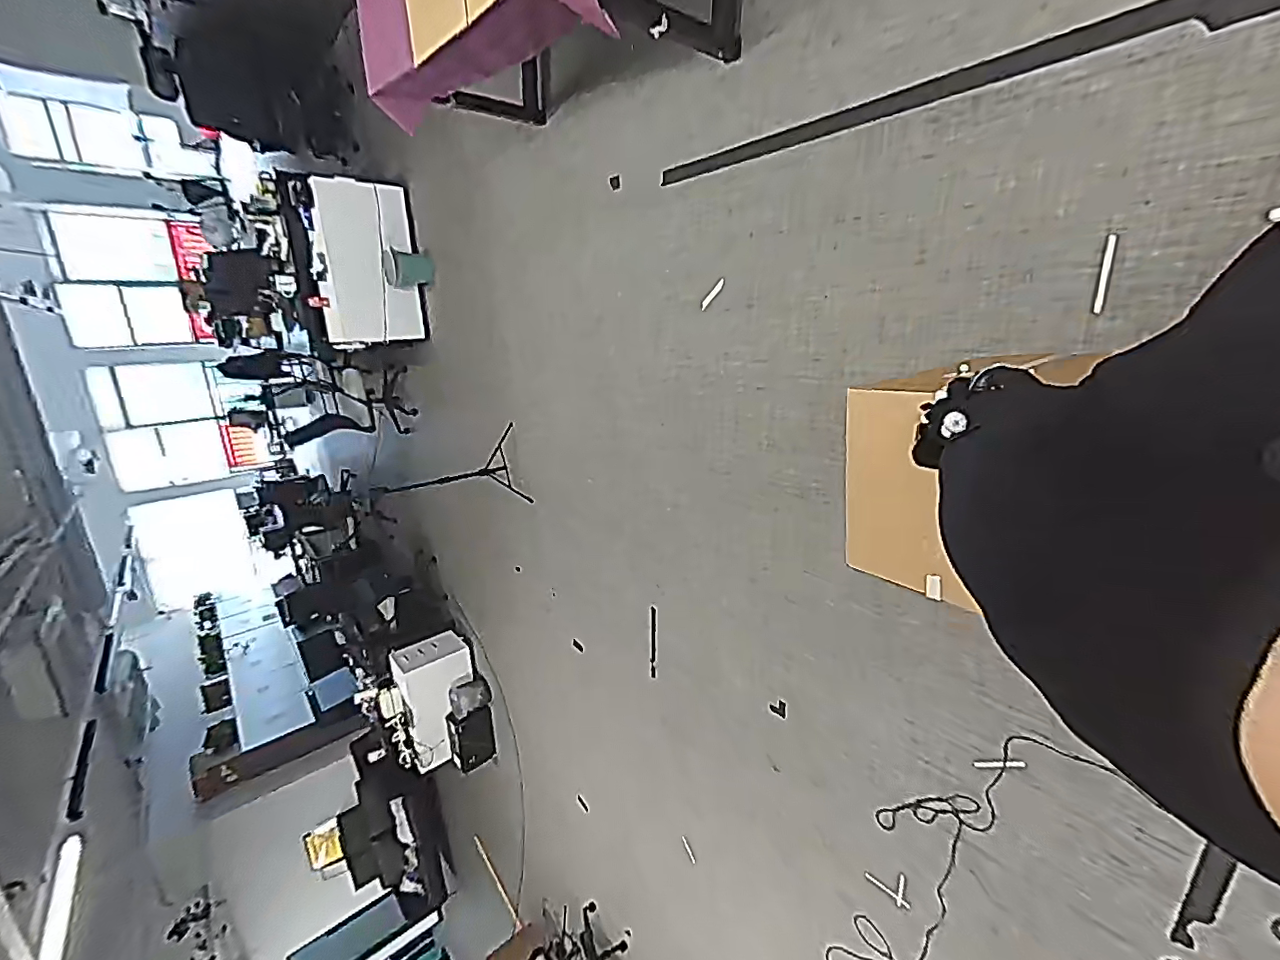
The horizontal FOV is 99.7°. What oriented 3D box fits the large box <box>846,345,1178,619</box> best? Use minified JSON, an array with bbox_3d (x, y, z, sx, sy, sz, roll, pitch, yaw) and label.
[{"bbox_3d":[0.586,-0.035,0.880,0.320,0.408,0.320,17,119,55],"label":"large box"}]
